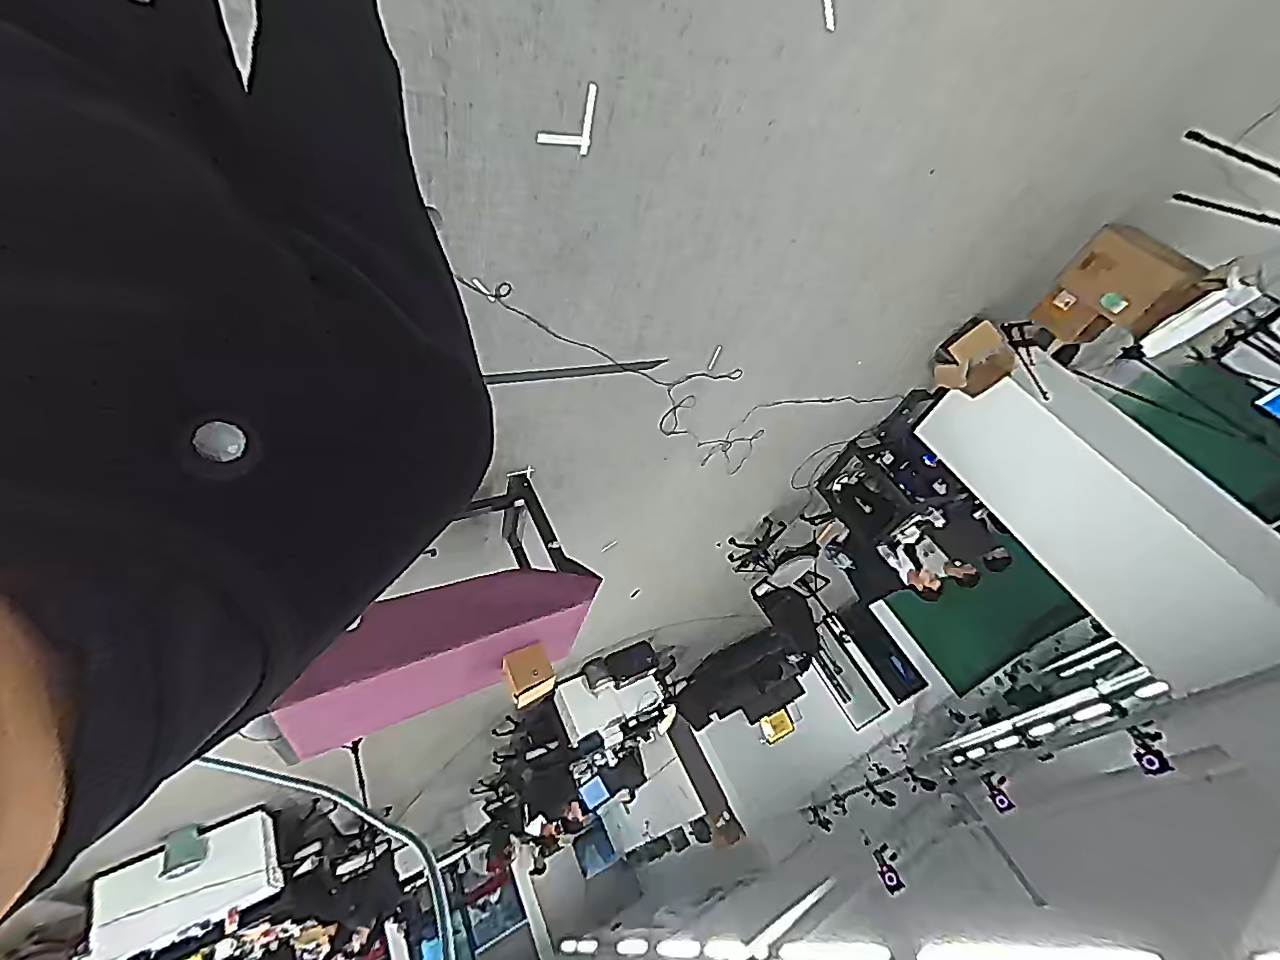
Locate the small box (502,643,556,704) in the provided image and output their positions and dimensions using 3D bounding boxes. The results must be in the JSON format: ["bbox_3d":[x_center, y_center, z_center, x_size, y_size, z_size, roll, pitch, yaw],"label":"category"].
[{"bbox_3d":[-0.484,0.836,2.344,0.179,0.176,0.168,-15,147,-27],"label":"small box"}]
